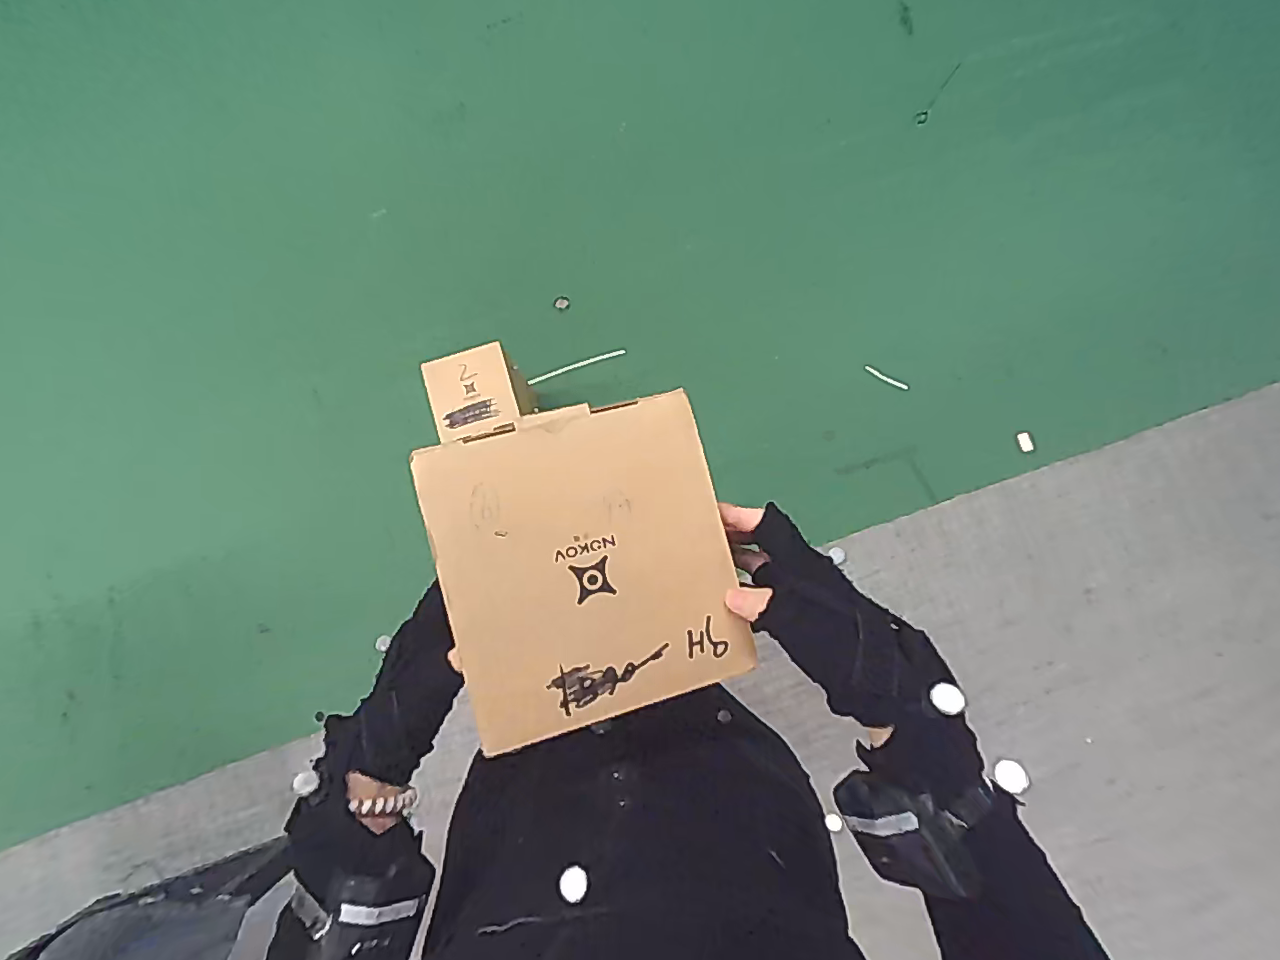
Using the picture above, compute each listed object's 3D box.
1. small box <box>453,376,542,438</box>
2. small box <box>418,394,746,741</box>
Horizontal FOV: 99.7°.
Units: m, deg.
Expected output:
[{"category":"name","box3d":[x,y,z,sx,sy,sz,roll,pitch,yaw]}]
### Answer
[{"category":"small box","box3d":[-0.331,-0.130,1.319,0.168,0.176,0.179,-15,82,-1]},{"category":"small box","box3d":[-0.044,0.054,0.401,0.168,0.176,0.179,-14,88,-9]}]
